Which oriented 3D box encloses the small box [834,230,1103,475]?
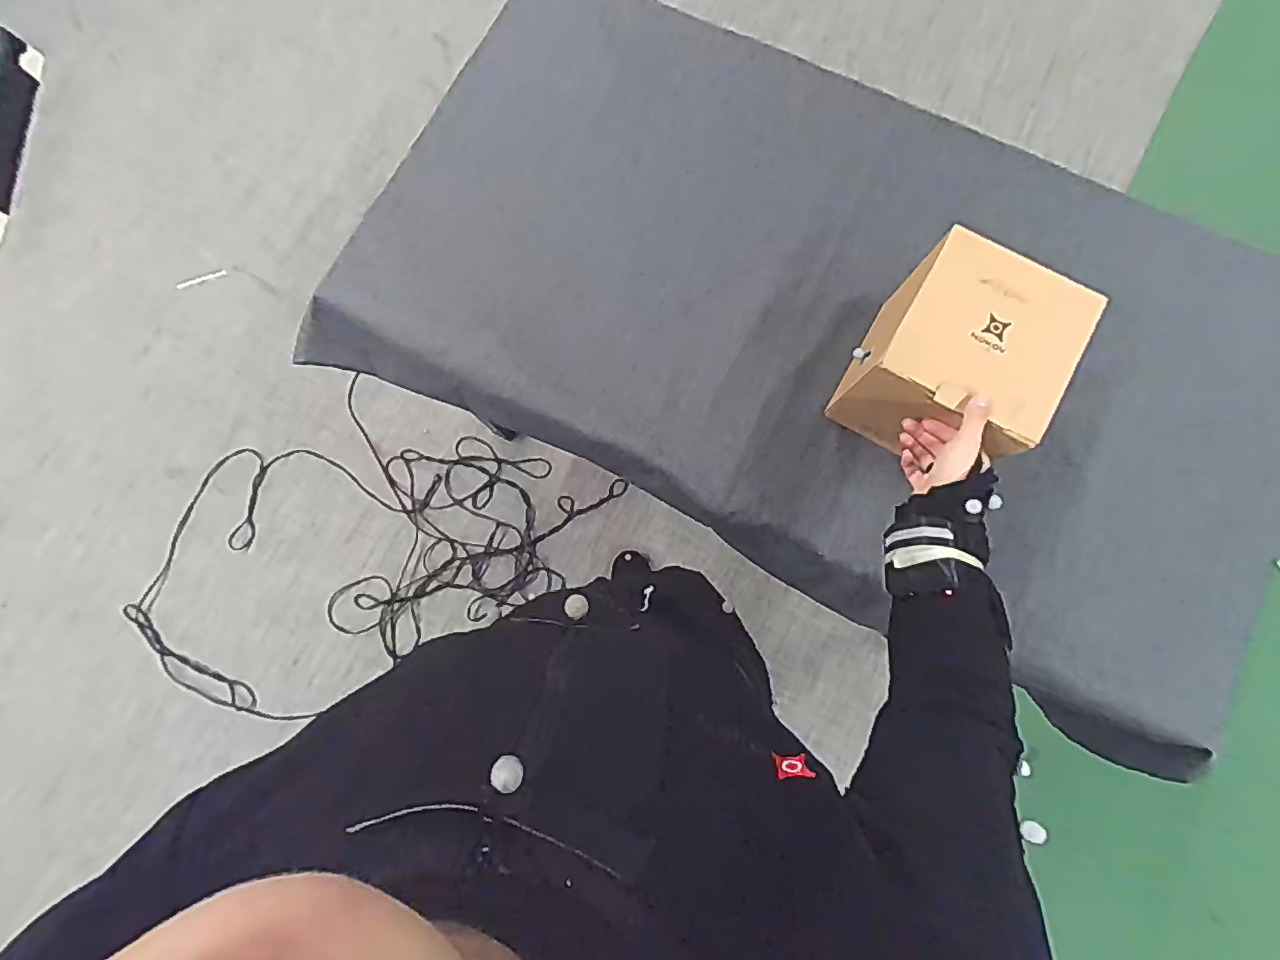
[{"bbox_3d":[0.340,-0.125,0.600,0.168,0.176,0.179,30,81,5],"label":"small box"}]
